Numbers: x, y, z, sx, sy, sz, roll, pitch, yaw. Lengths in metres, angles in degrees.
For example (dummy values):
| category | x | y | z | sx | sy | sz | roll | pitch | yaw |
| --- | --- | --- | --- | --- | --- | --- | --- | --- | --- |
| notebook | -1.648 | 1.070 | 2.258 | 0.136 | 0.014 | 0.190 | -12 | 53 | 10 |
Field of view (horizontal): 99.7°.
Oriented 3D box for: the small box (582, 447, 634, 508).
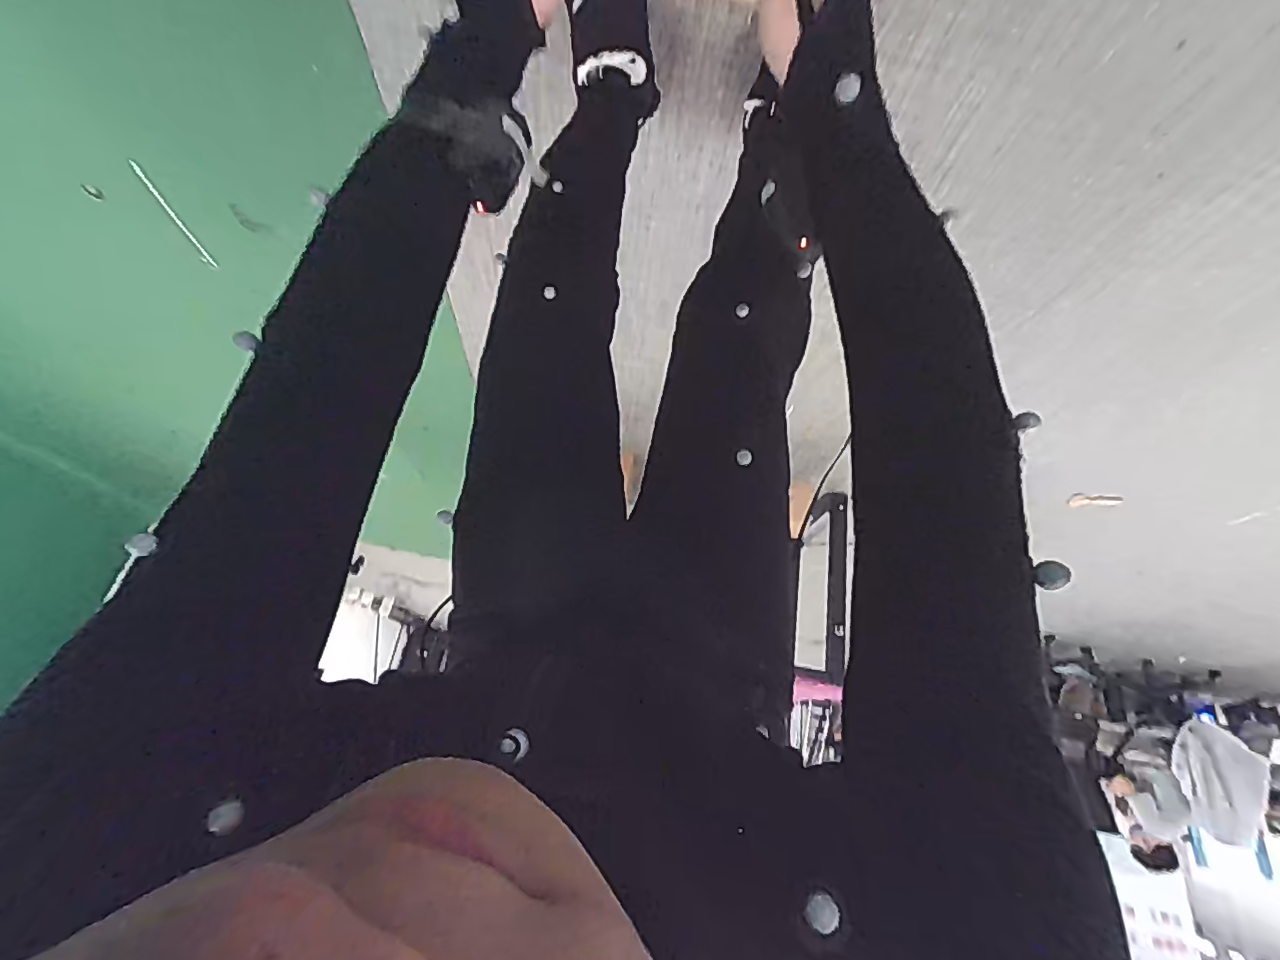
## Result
| category | x | y | z | sx | sy | sz | roll | pitch | yaw |
| --- | --- | --- | --- | --- | --- | --- | --- | --- | --- |
| small box | -0.119 | -0.010 | 2.093 | 0.168 | 0.176 | 0.179 | 8 | 157 | 5 |

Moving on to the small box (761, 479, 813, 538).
| category | x | y | z | sx | sy | sz | roll | pitch | yaw |
| --- | --- | --- | --- | --- | --- | --- | --- | --- | --- |
| small box | 0.563 | 0.108 | 2.076 | 0.168 | 0.176 | 0.179 | 7 | 157 | 7 |
